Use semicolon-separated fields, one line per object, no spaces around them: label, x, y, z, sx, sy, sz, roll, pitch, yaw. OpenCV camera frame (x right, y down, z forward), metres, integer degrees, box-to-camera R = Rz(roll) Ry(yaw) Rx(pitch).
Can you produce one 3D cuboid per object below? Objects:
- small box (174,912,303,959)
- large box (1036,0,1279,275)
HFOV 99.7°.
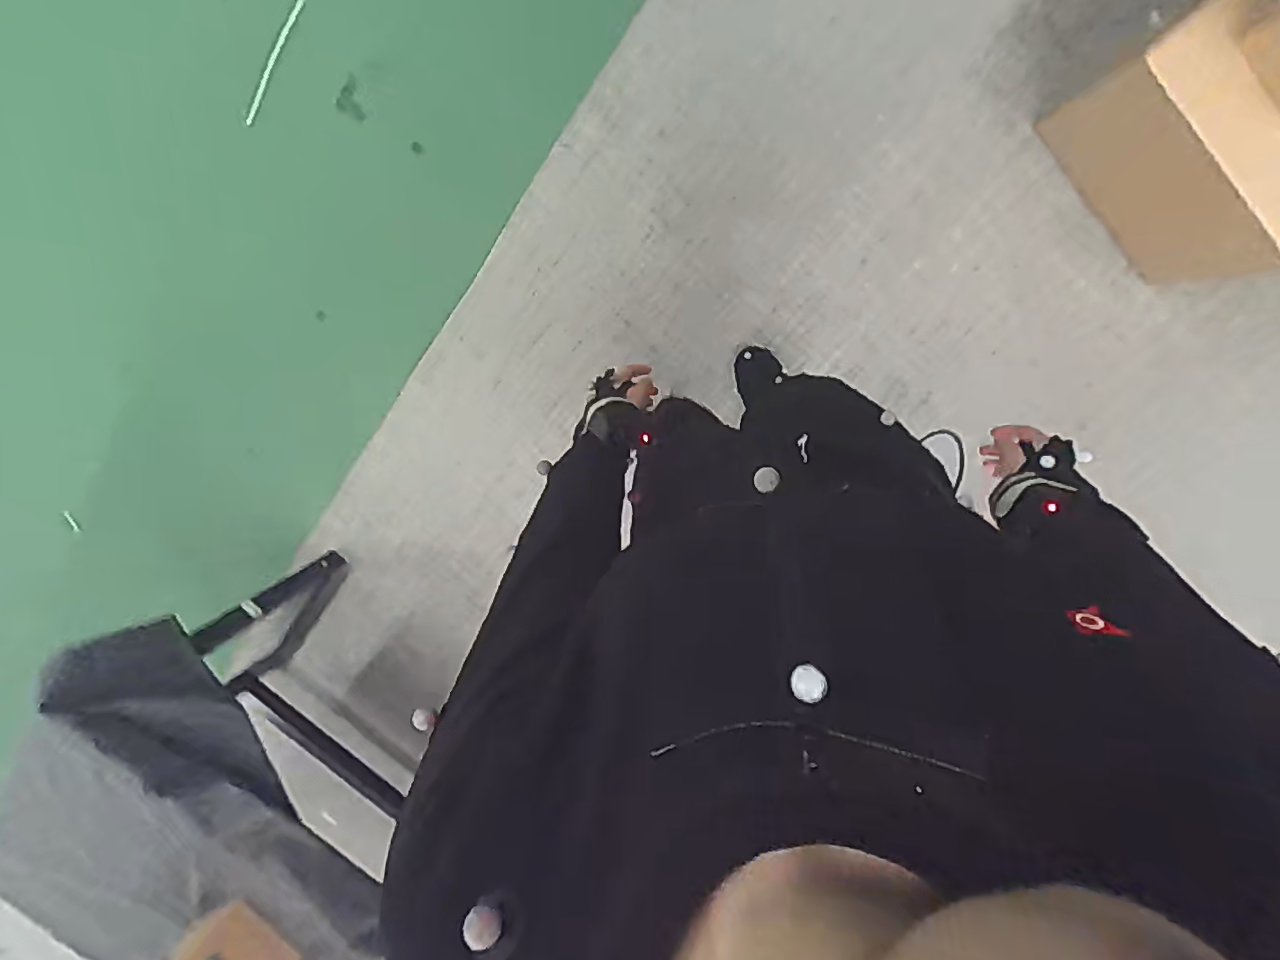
small box;-0.758;0.917;0.963;0.168;0.176;0.179;-38;97;20
large box;0.971;-0.598;0.870;0.320;0.320;0.408;-42;96;20
